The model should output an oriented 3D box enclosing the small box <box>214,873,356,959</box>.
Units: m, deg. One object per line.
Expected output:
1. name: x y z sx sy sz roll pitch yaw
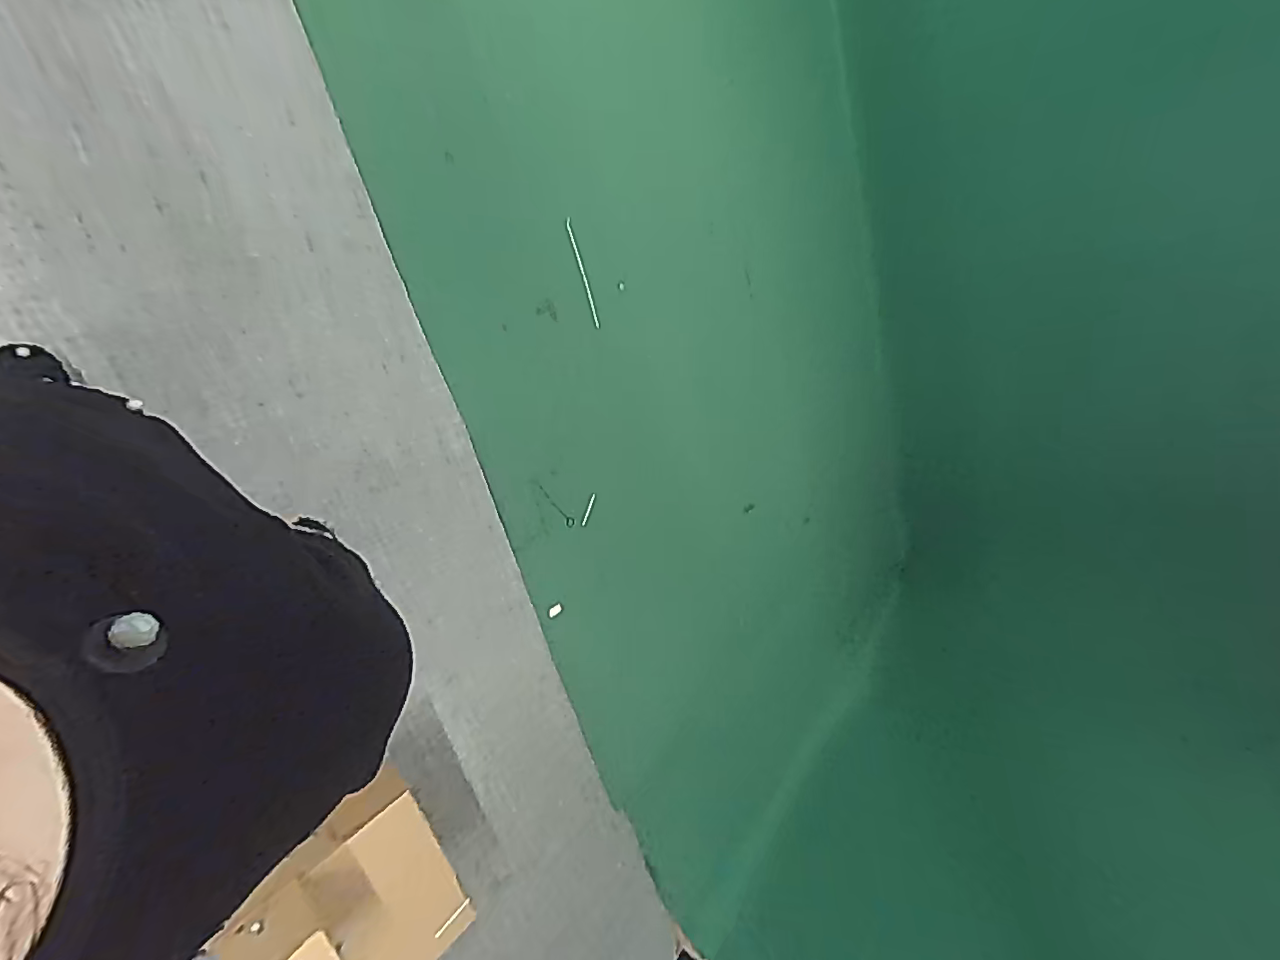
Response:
1. small box: -0.655 0.895 1.009 0.168 0.176 0.179 -31 114 -40
